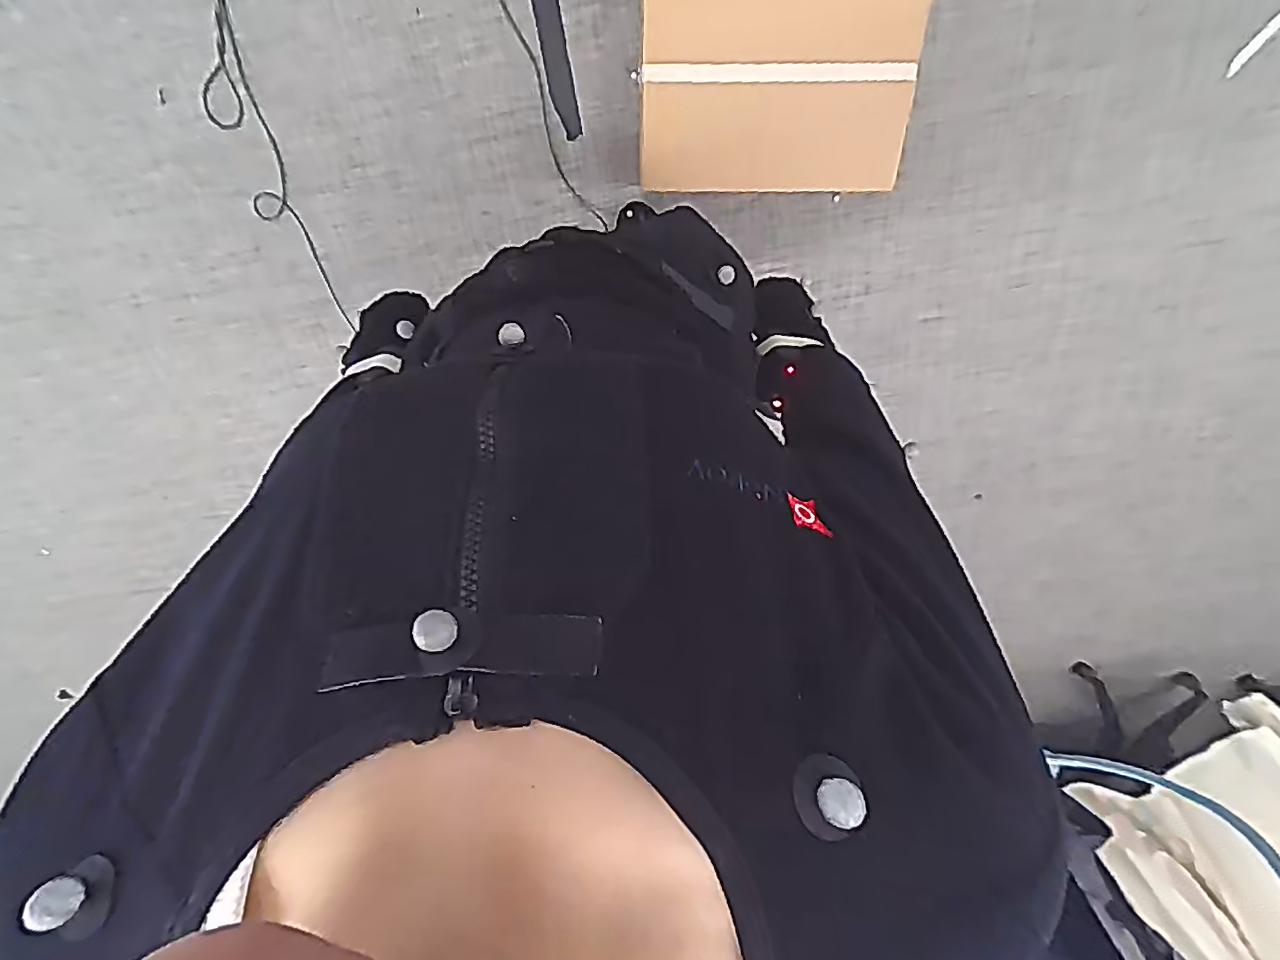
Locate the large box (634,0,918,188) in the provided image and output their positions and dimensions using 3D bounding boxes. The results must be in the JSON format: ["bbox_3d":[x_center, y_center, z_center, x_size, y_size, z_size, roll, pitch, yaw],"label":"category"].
[{"bbox_3d":[0.194,-0.685,0.924,0.408,0.320,0.320,0,120,-1],"label":"large box"}]
